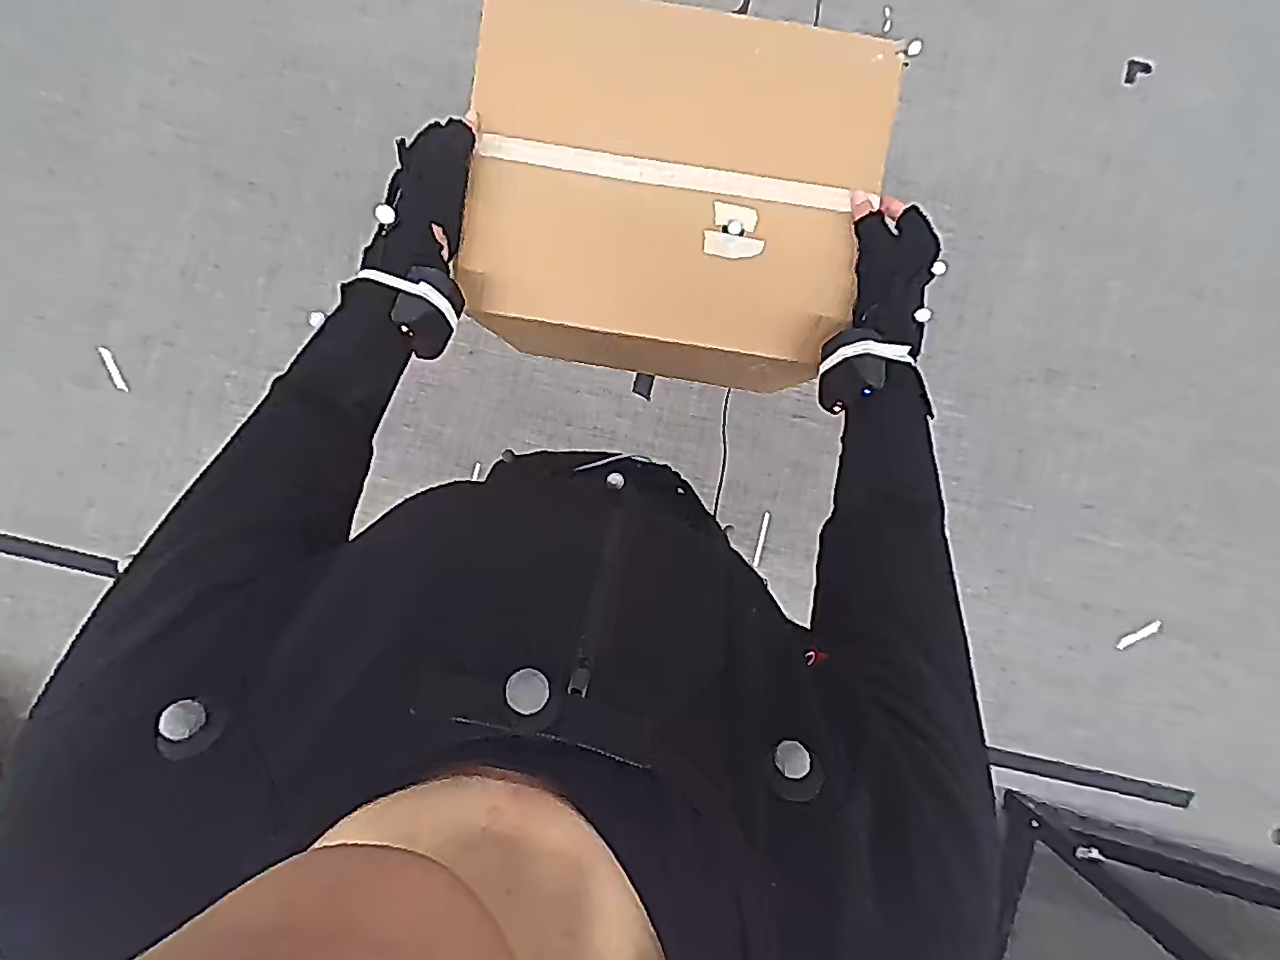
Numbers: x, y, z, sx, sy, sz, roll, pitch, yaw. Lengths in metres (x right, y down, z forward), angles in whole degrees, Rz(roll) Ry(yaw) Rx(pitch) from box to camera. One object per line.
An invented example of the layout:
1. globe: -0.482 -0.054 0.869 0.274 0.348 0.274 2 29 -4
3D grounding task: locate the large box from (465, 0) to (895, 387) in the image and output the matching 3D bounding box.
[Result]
1. large box: 0.034 -0.311 0.688 0.408 0.320 0.320 9 95 -1
